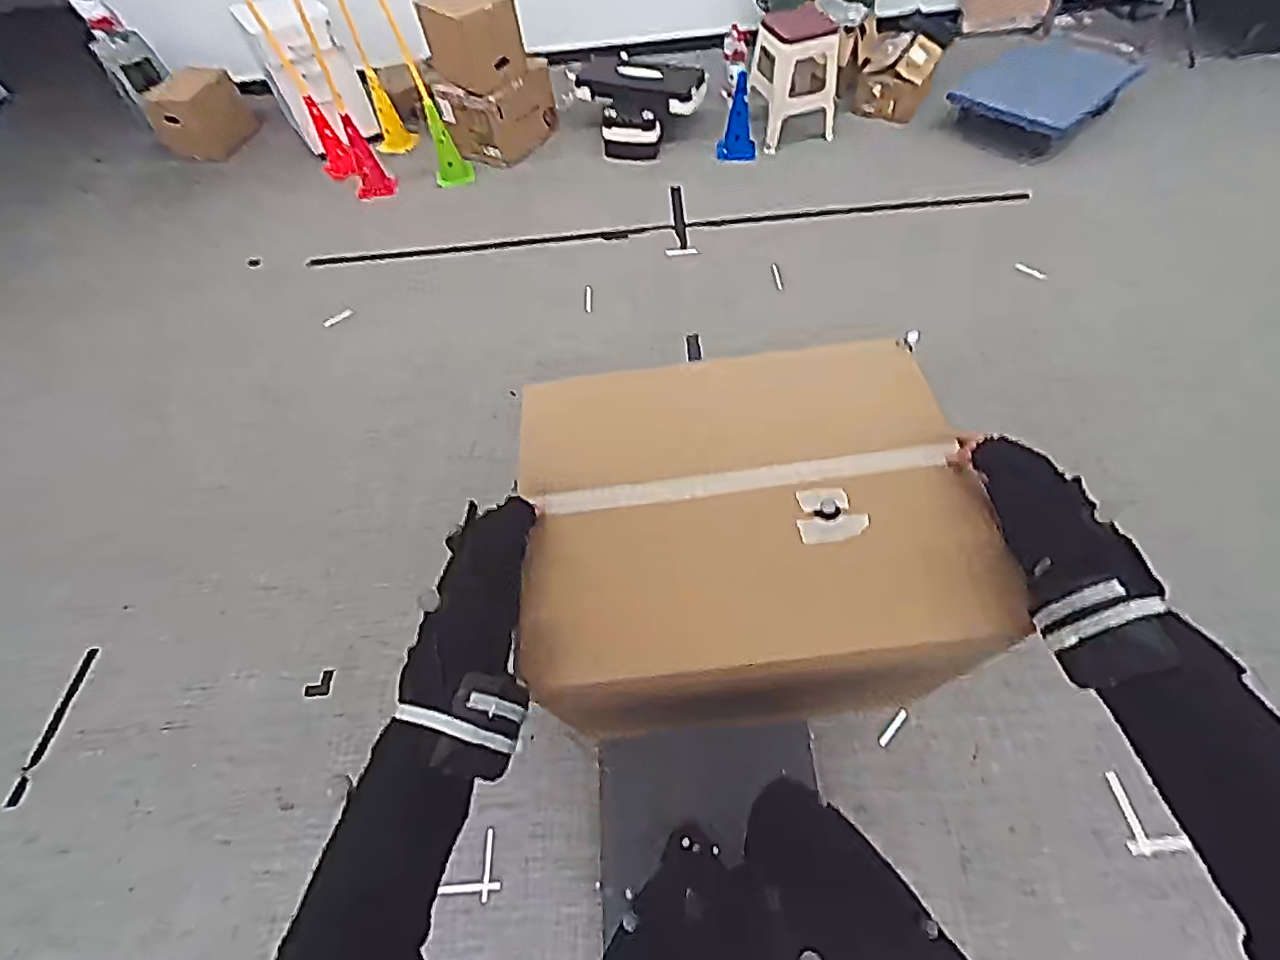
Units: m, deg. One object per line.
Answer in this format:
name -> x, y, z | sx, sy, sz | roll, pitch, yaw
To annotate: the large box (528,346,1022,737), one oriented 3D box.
large box -> 0.101, 0.088, 0.630 | 0.408, 0.320, 0.320 | -7, 57, 1
